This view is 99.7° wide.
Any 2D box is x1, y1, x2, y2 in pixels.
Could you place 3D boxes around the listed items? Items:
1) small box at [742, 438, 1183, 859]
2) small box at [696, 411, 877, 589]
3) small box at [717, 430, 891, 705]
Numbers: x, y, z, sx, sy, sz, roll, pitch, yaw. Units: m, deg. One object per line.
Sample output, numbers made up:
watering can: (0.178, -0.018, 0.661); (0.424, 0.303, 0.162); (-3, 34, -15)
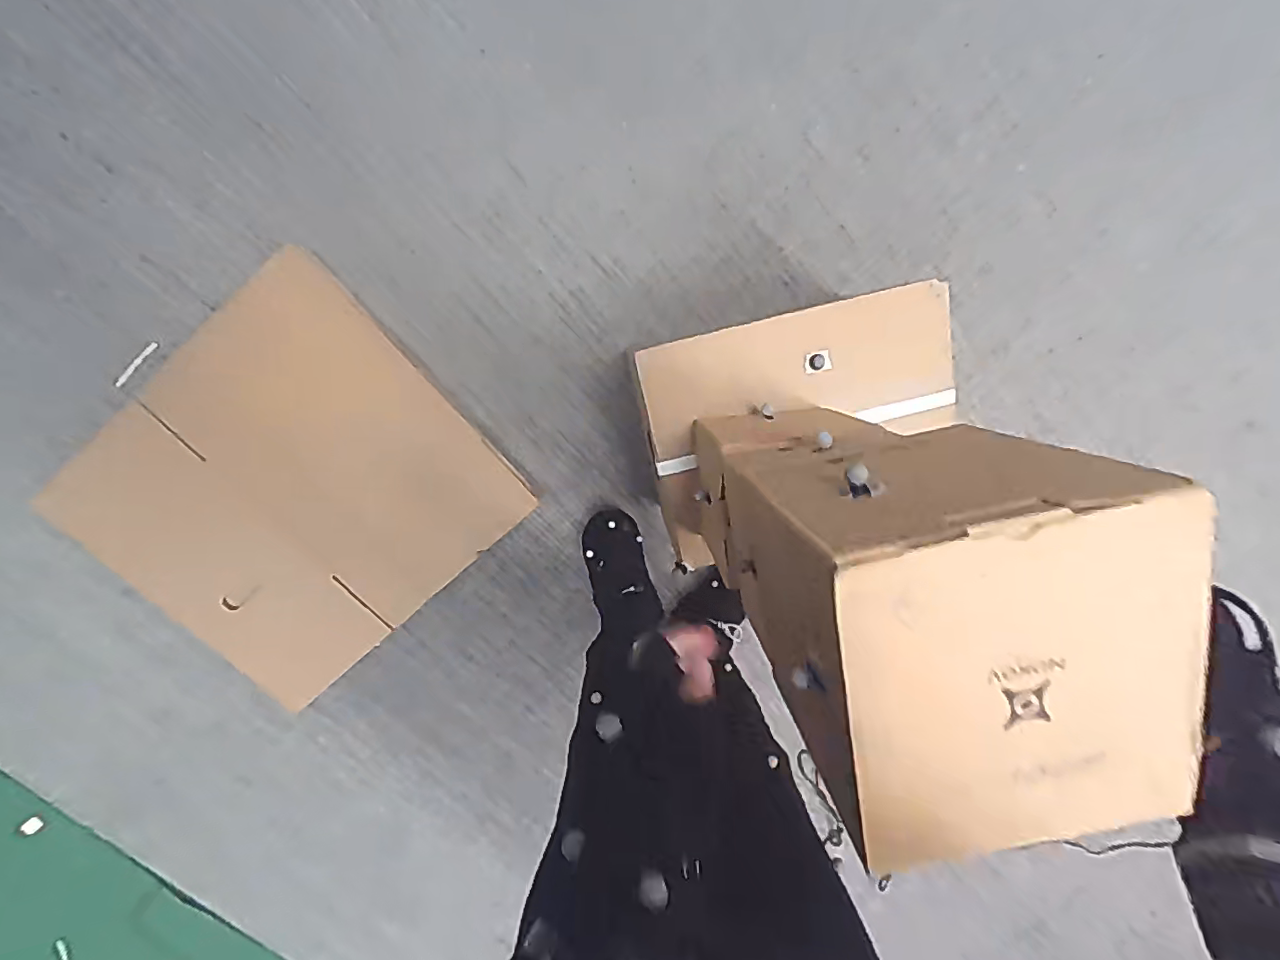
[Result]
small box: (0.170, 0.078, 0.335); (0.168, 0.176, 0.179); (-13, 105, 1)
small box: (0.168, 0.013, 0.658); (0.179, 0.176, 0.168); (-9, 103, -1)
small box: (0.178, 0.068, 0.500); (0.168, 0.176, 0.179); (-14, 106, 1)
